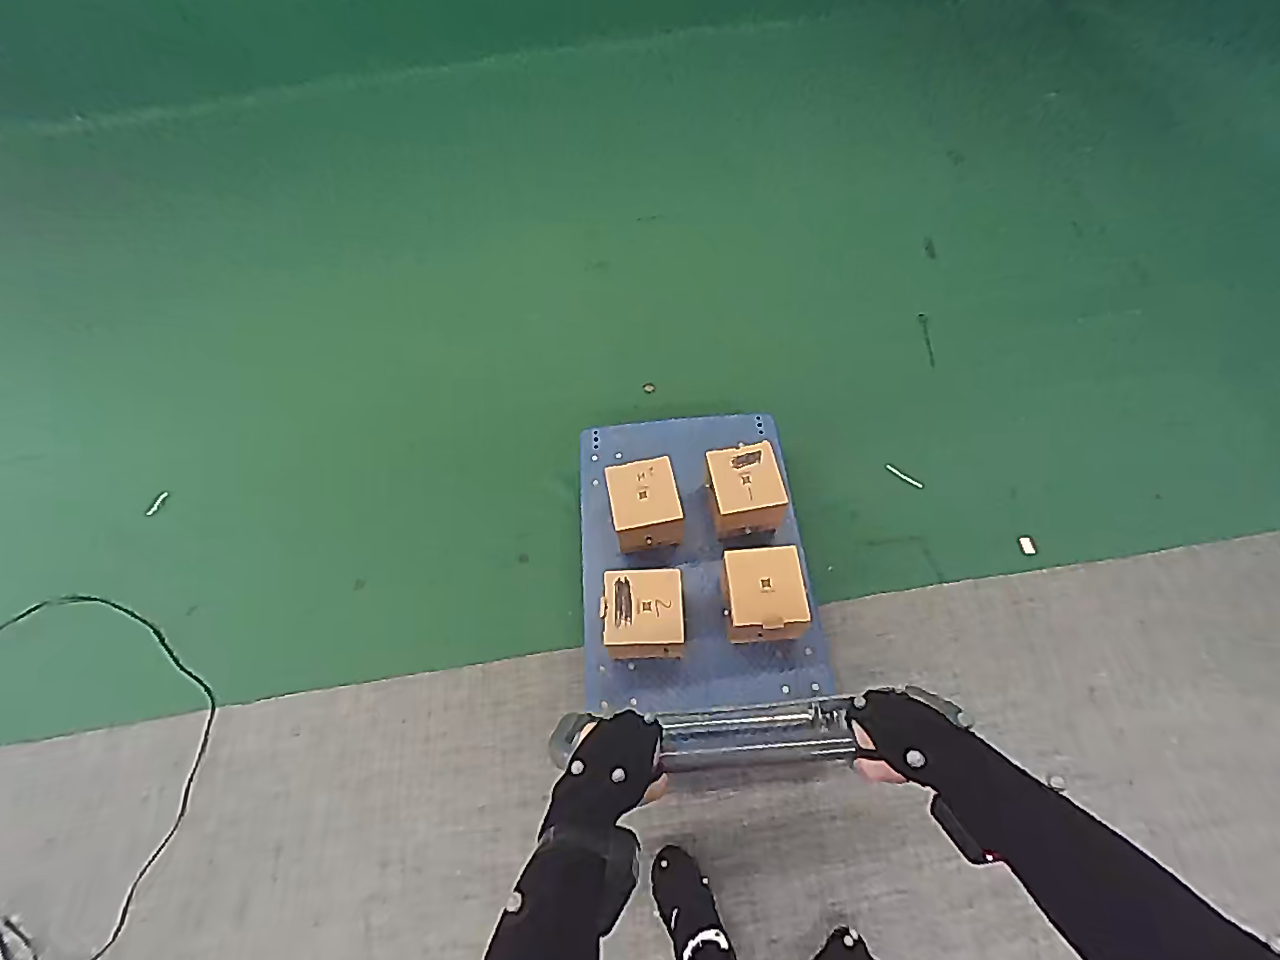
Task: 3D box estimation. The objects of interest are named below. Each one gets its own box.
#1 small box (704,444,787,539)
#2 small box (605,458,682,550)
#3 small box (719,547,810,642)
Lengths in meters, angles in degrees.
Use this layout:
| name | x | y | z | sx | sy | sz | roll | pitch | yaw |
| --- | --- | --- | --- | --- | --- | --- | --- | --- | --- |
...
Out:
| name | x | y | z | sx | sy | sz | roll | pitch | yaw |
| --- | --- | --- | --- | --- | --- | --- | --- | --- | --- |
| small box | 0.261 | 0.033 | 1.386 | 0.168 | 0.176 | 0.179 | -10 | 63 | -1 |
| small box | 0.011 | 0.070 | 1.381 | 0.168 | 0.176 | 0.179 | -10 | 63 | -3 |
| small box | 0.282 | 0.271 | 1.264 | 0.168 | 0.176 | 0.179 | -5 | 63 | 1 |
